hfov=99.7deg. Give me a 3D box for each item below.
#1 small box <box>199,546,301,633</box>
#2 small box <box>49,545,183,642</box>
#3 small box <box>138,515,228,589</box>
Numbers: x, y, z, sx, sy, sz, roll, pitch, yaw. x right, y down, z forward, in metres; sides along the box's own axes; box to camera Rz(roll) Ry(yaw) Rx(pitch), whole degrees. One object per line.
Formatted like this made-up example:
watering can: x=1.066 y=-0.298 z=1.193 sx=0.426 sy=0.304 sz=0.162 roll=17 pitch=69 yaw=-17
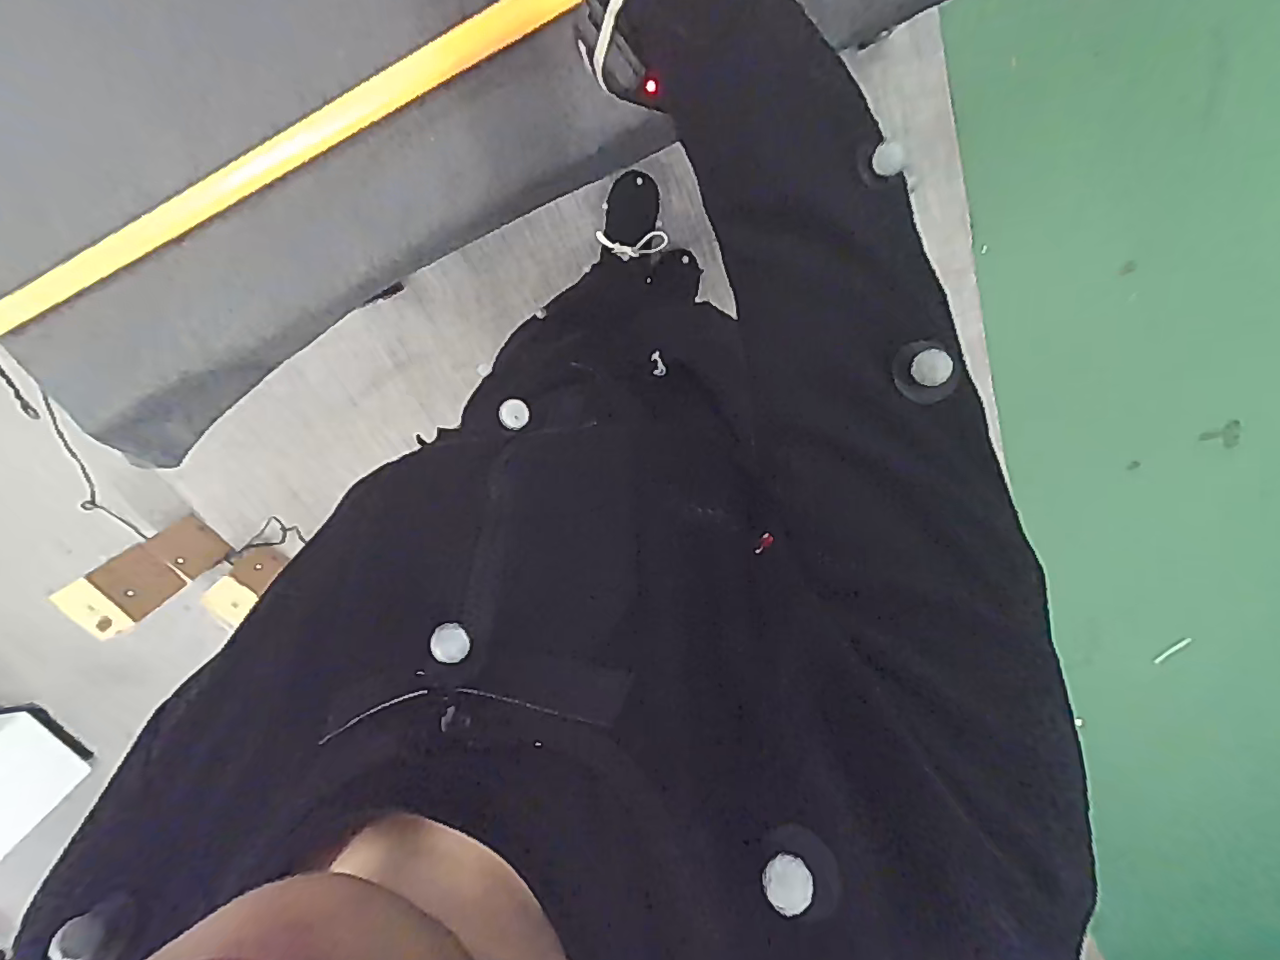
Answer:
small box: x=-1.209 y=0.339 z=1.695 sx=0.179 sy=0.176 sz=0.168 roll=-34 pitch=110 yaw=23
small box: x=-1.453 y=0.314 z=1.514 sx=0.168 sy=0.176 sz=0.179 roll=-24 pitch=113 yaw=17
small box: x=-1.428 y=0.241 z=1.660 sx=0.179 sy=0.176 sz=0.168 roll=-29 pitch=112 yaw=20
